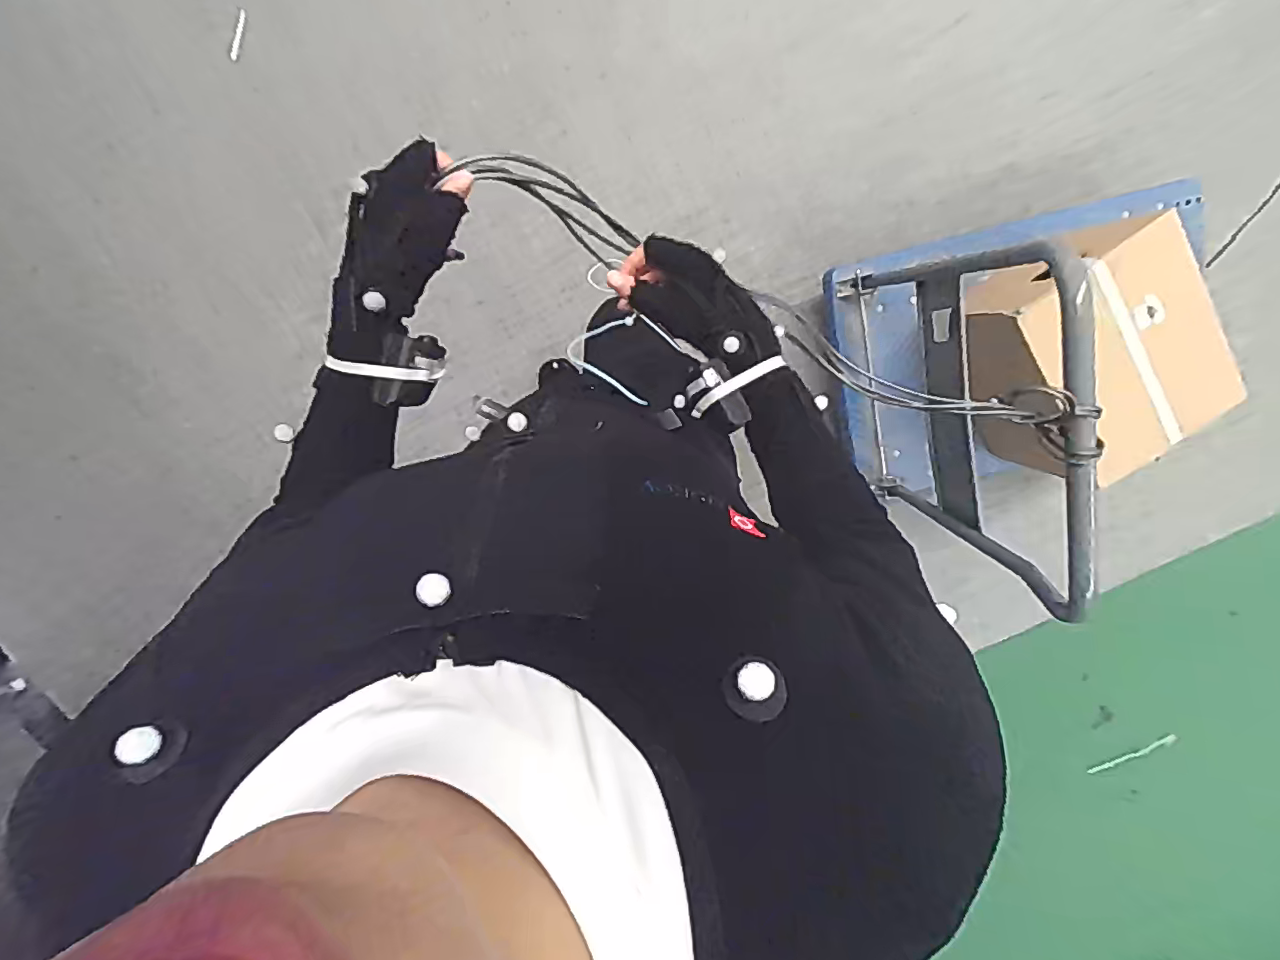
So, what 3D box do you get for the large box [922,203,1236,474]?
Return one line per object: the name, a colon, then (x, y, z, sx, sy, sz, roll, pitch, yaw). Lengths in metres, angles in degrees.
large box: (0.897, -0.286, 1.149, 0.320, 0.320, 0.408, -35, 104, 6)
